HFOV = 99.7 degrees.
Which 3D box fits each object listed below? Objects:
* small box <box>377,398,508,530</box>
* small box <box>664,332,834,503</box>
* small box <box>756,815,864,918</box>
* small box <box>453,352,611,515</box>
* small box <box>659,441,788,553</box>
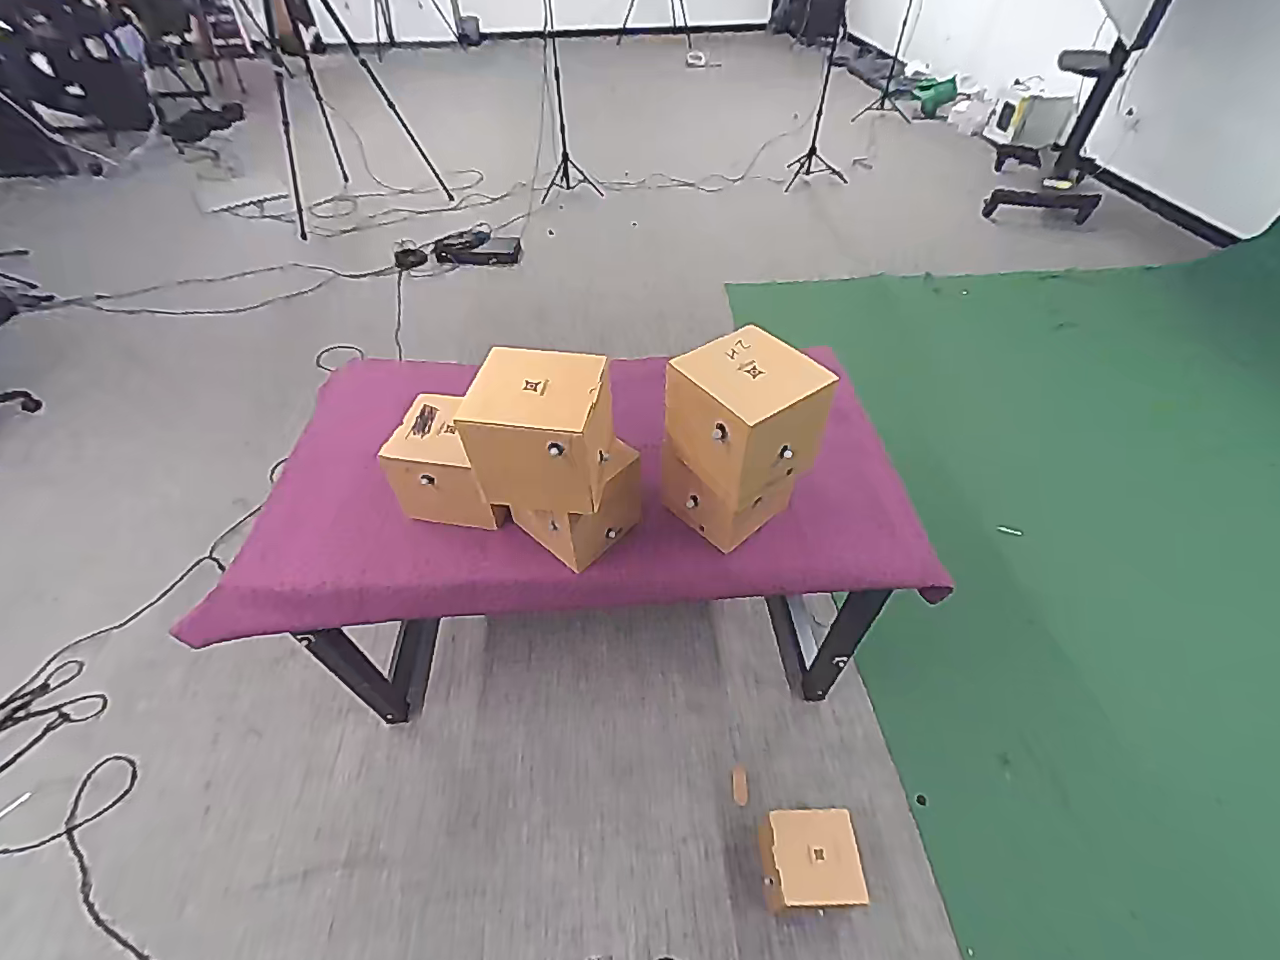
[{"bbox_3d":[-0.331,-0.026,0.978,0.179,0.176,0.168,7,48,6],"label":"small box"},{"bbox_3d":[0.152,-0.088,0.807,0.168,0.176,0.179,-28,51,-23],"label":"small box"},{"bbox_3d":[0.354,0.838,1.171,0.179,0.176,0.168,0,48,-1],"label":"small box"},{"bbox_3d":[-0.143,-0.066,0.792,0.179,0.176,0.168,6,48,5],"label":"small box"},{"bbox_3d":[0.152,-0.004,0.955,0.179,0.176,0.168,-34,55,-27],"label":"small box"}]
